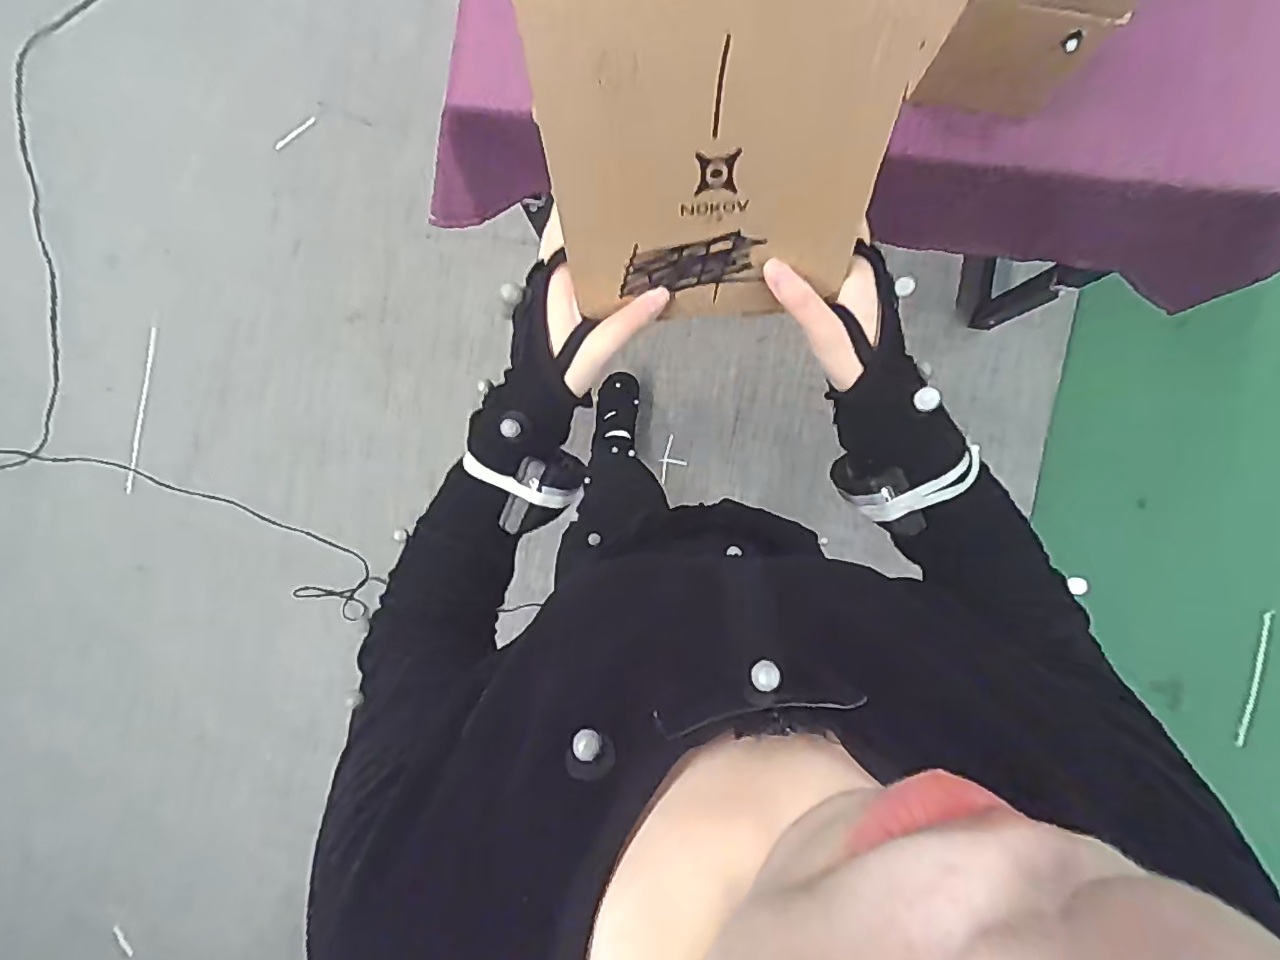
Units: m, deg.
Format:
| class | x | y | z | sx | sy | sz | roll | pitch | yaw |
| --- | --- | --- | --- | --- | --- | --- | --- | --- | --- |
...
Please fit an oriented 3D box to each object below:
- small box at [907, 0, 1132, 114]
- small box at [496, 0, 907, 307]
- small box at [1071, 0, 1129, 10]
| class | x | y | z | sx | sy | sz | roll | pitch | yaw |
| --- | --- | --- | --- | --- | --- | --- | --- | --- | --- |
| small box | 0.458 | -0.590 | 0.663 | 0.179 | 0.176 | 0.168 | 11 | 91 | 2 |
| small box | 0.028 | -0.227 | 0.311 | 0.168 | 0.179 | 0.176 | -2 | 59 | 3 |
| small box | 0.451 | -0.595 | 0.498 | 0.168 | 0.176 | 0.179 | 13 | 91 | 2 |
